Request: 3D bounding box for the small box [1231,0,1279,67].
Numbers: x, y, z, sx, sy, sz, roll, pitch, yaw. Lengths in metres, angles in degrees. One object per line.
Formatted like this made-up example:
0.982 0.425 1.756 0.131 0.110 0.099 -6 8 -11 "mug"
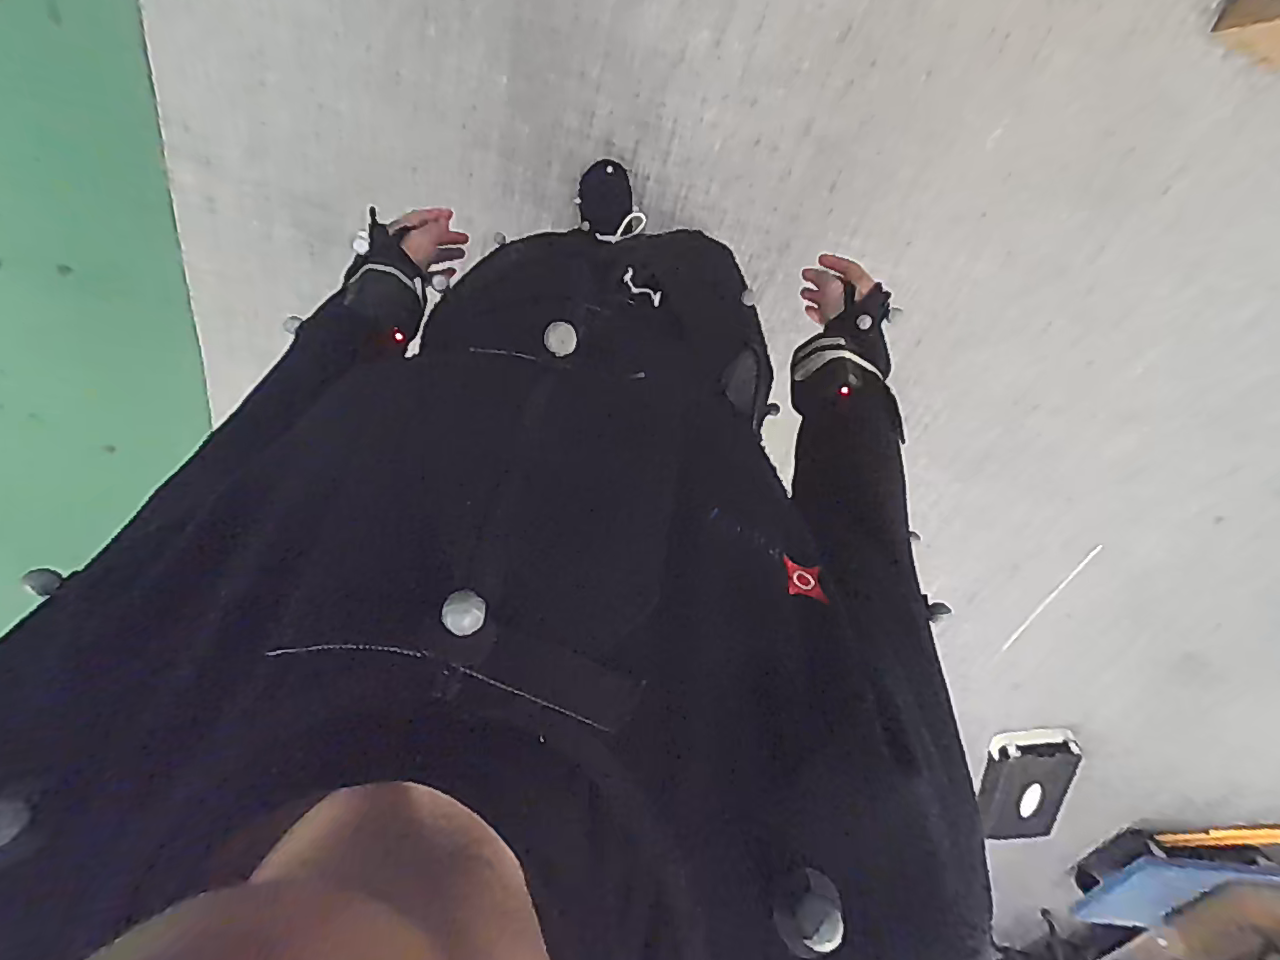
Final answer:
1.127 -0.798 0.864 0.168 0.176 0.179 19 121 -12 "small box"
